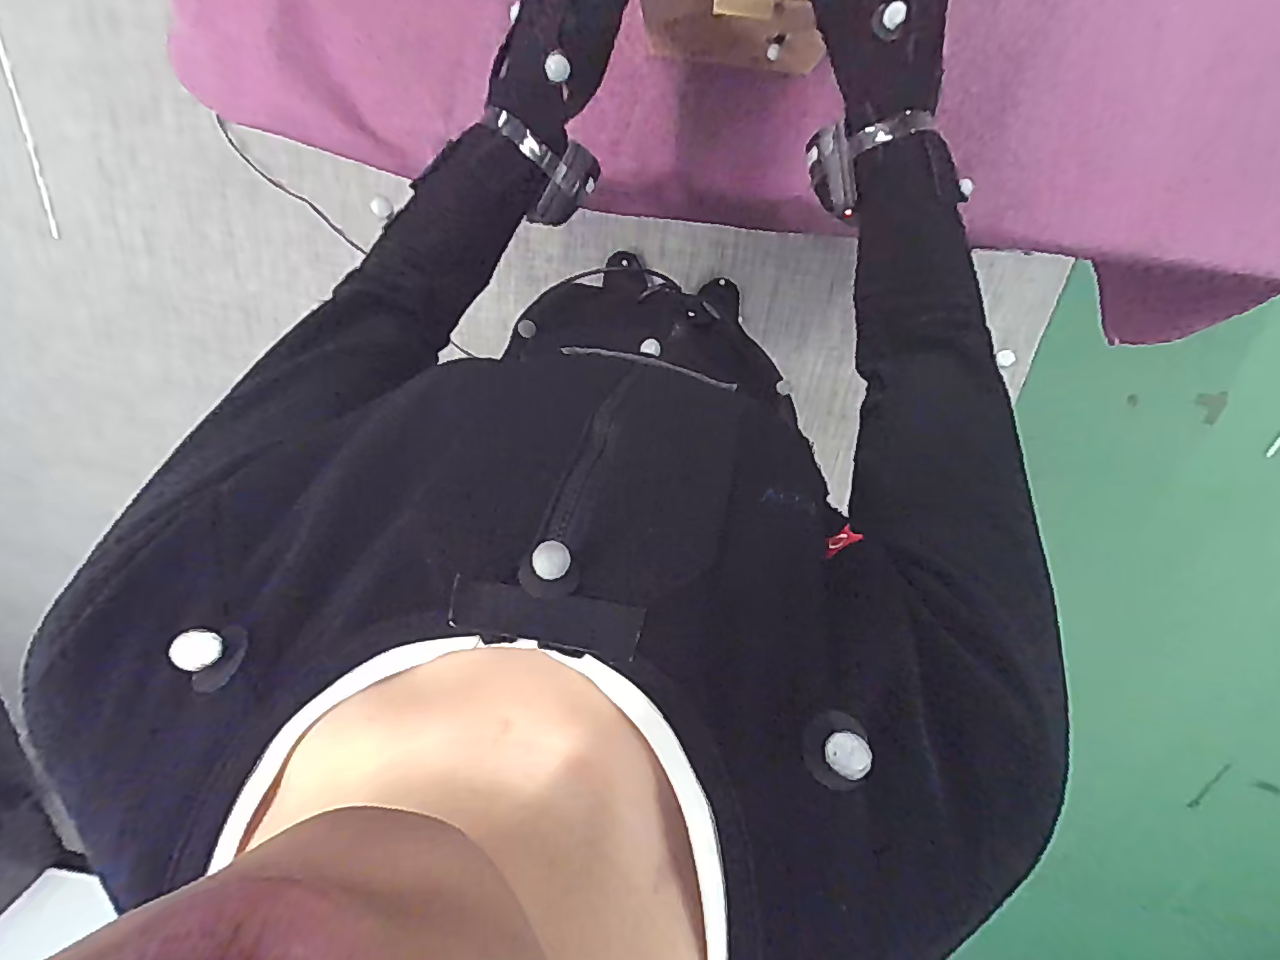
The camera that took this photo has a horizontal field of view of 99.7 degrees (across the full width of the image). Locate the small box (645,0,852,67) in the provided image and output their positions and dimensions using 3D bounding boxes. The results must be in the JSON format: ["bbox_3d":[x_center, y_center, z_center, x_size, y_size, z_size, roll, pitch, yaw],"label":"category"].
[{"bbox_3d":[0.097,-0.471,0.442,0.168,0.176,0.179,9,113,1],"label":"small box"}]
